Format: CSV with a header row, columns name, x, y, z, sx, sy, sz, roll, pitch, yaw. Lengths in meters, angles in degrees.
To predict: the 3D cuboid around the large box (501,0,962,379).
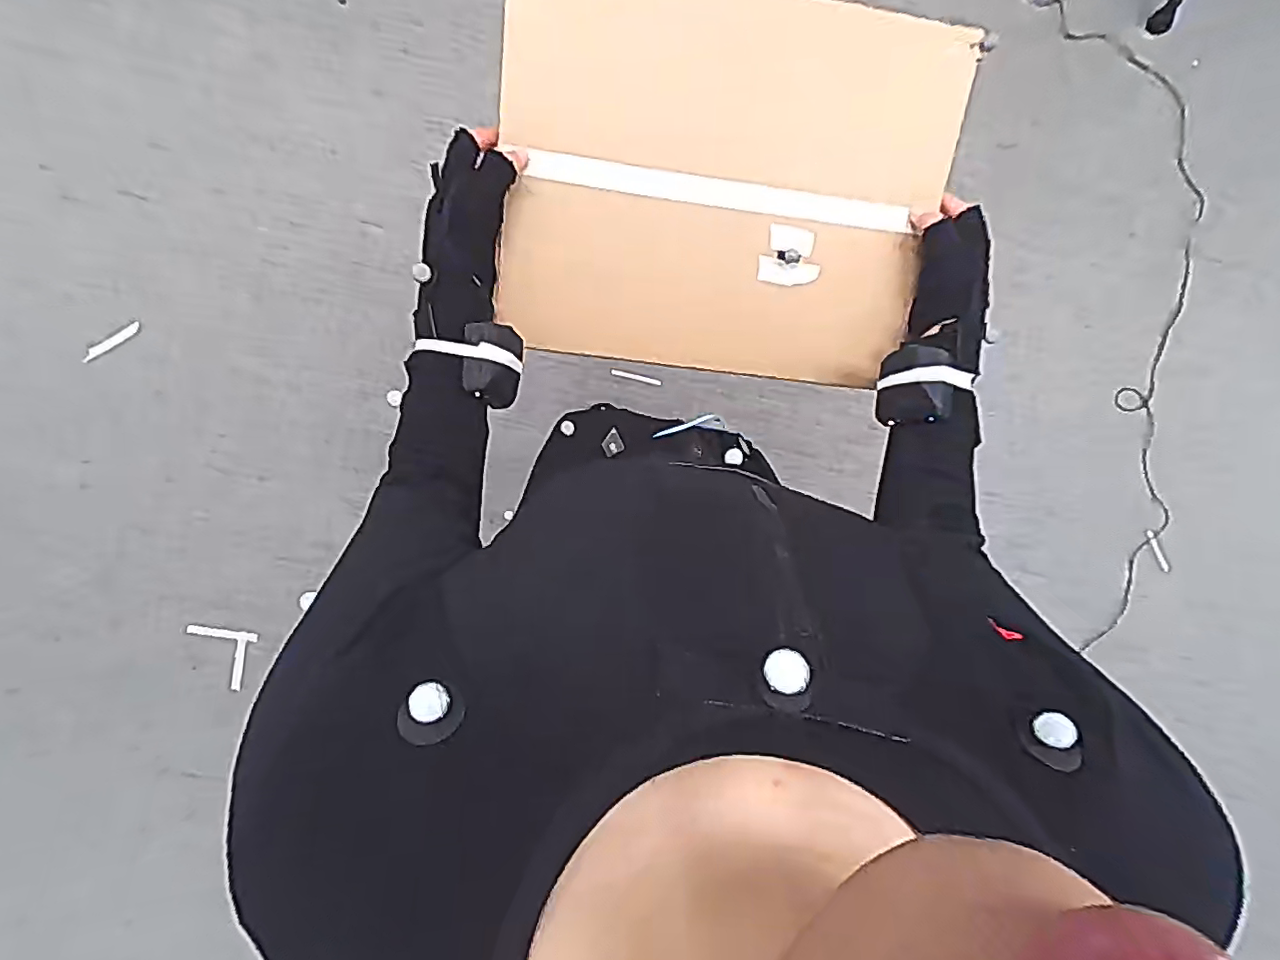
name,x,y,z,sx,sy,sz,roll,pitch,yaw
large box,0.061,-0.310,0.642,0.408,0.320,0.320,5,108,-7
